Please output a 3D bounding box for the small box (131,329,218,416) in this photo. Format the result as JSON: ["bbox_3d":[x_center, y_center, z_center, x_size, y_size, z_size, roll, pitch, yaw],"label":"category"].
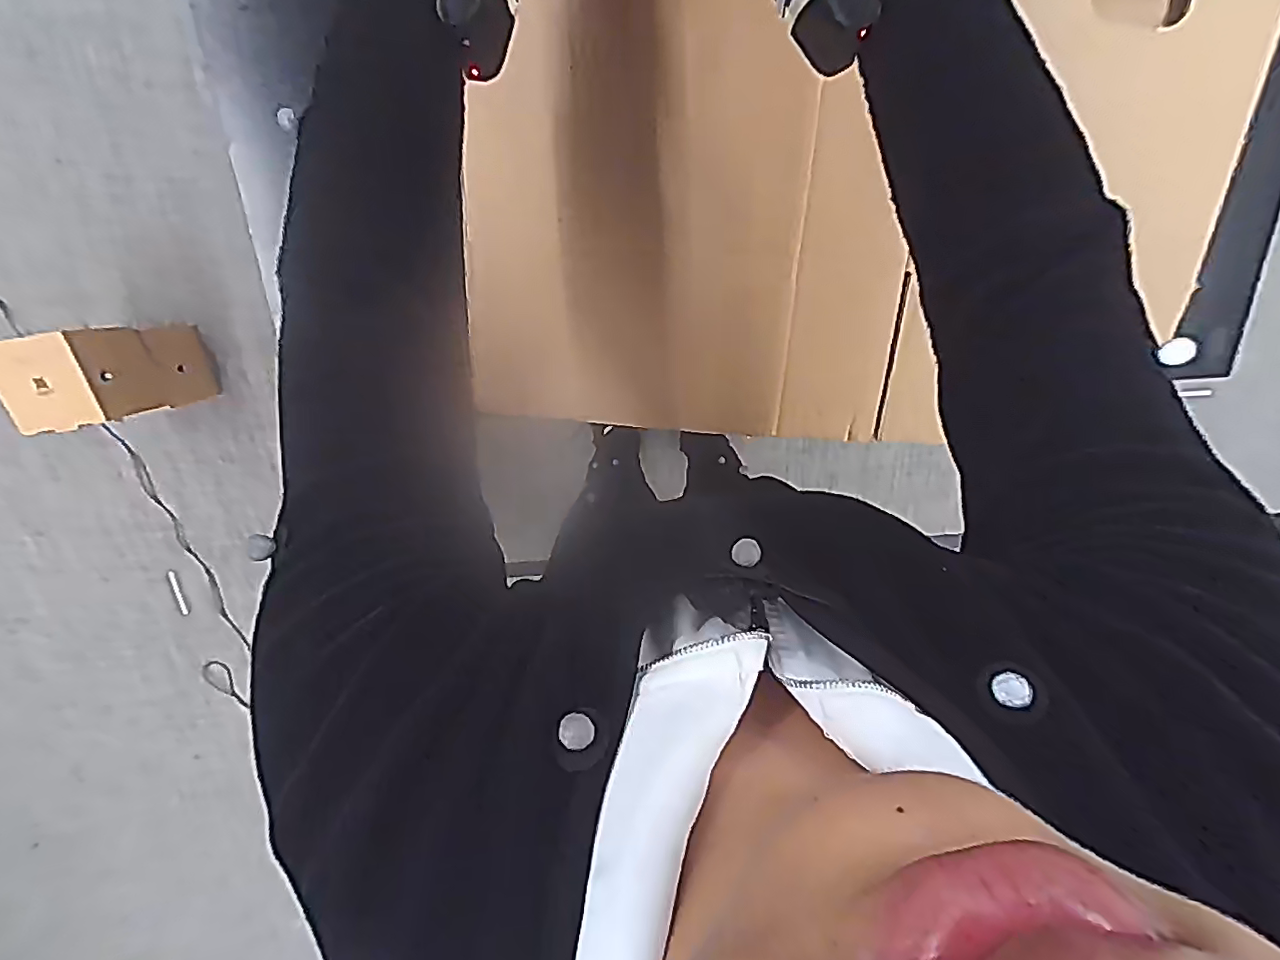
[{"bbox_3d":[-1.129,-0.249,1.240,0.168,0.176,0.179,-8,110,-1],"label":"small box"}]

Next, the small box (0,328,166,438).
[{"bbox_3d":[-1.120,-0.200,1.085,0.168,0.176,0.179,-11,109,-1],"label":"small box"}]
